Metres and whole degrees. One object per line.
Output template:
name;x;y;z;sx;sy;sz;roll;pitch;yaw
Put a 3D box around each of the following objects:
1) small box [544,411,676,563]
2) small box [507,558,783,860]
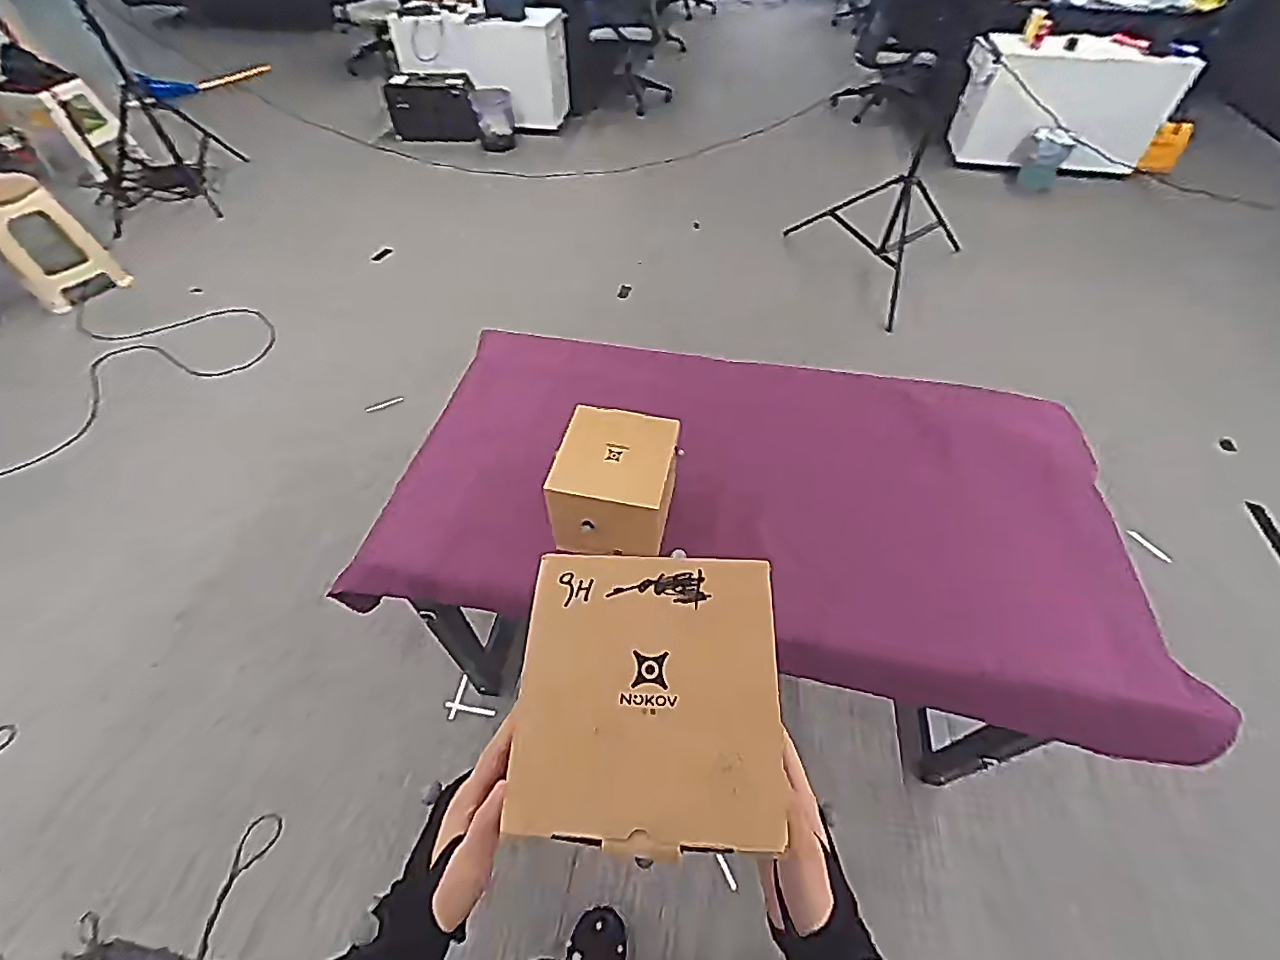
small box;-0.039;0.018;0.859;0.168;0.176;0.179;9;51;7
small box;0.011;0.174;0.420;0.168;0.176;0.179;1;60;4
